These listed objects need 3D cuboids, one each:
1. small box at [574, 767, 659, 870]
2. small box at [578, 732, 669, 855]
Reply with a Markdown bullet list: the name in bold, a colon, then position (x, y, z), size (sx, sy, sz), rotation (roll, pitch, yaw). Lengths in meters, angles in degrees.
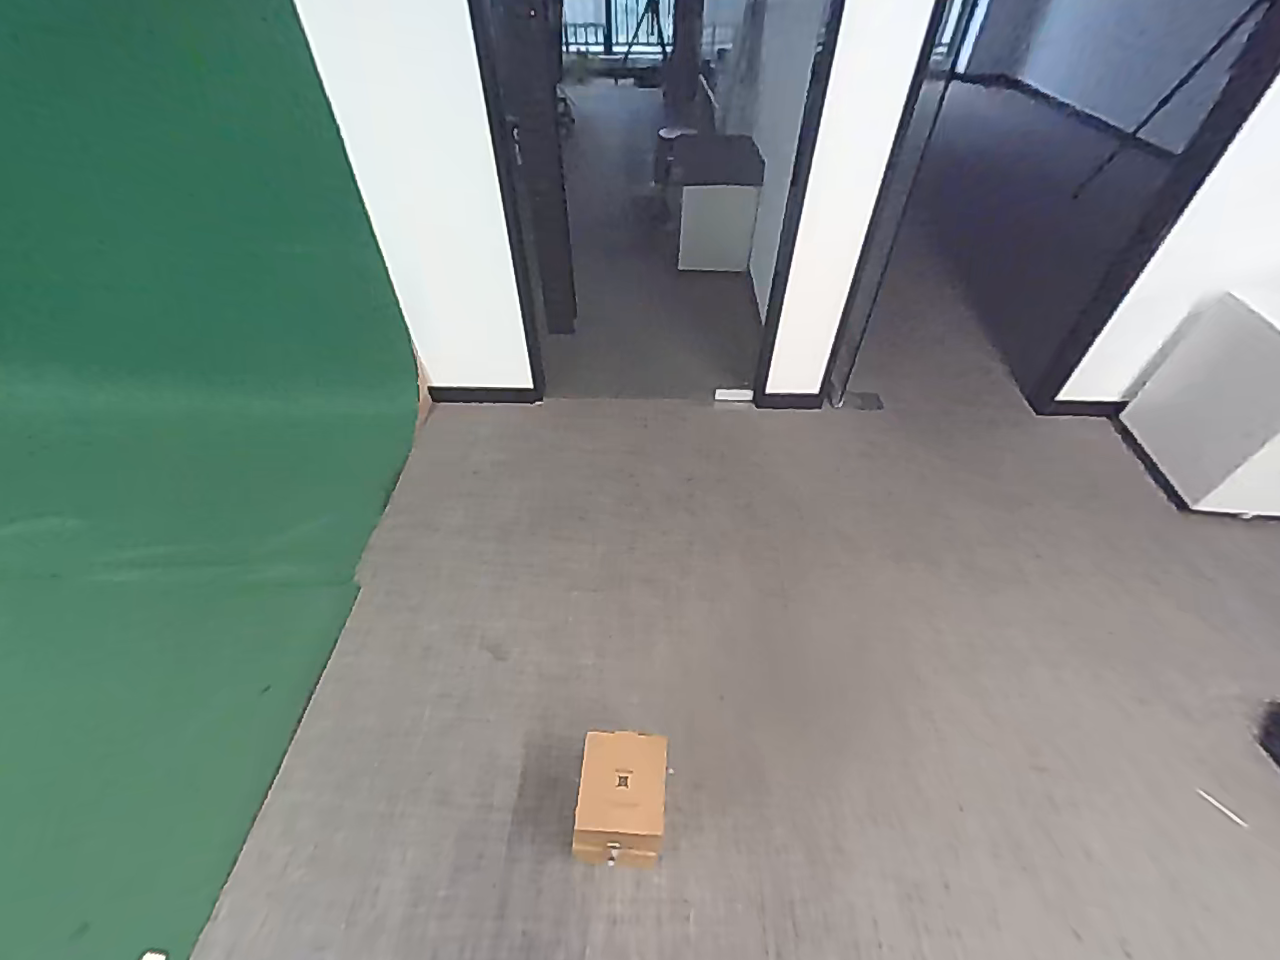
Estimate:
- **small box**: position (-0.042, 0.755, 1.208), size (0.179, 0.176, 0.168), rotation (2, 45, 4)
- **small box**: position (-0.027, 0.637, 1.099), size (0.168, 0.176, 0.179), rotation (1, 46, 4)
